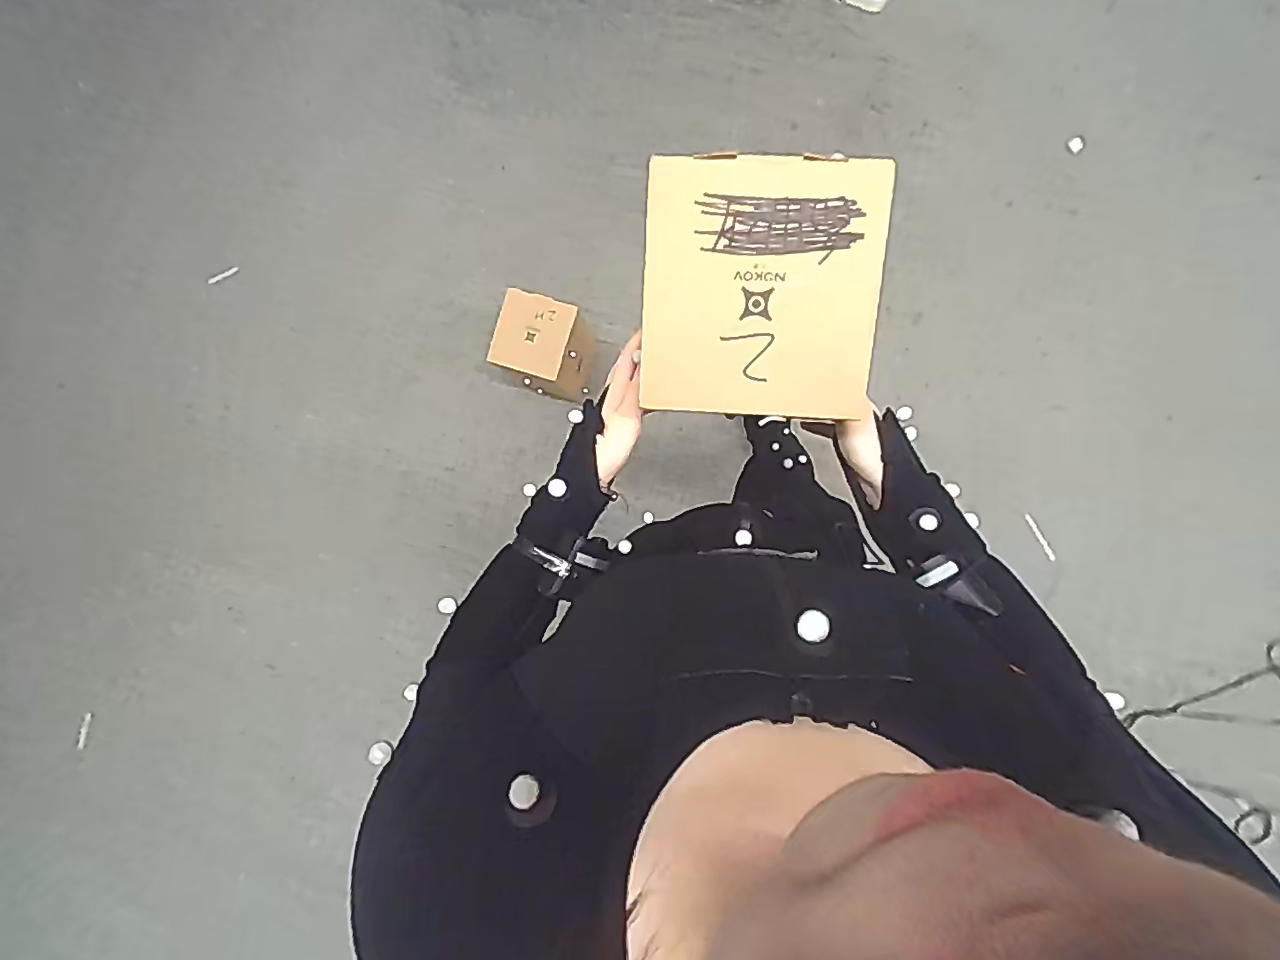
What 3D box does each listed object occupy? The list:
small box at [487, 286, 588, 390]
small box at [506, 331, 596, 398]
[{"bbox_3d":[-0.230,-0.321,1.263,0.168,0.176,0.179,18,91,3],"label":"small box"},{"bbox_3d":[-0.227,-0.322,1.428,0.179,0.176,0.168,18,91,4],"label":"small box"}]
